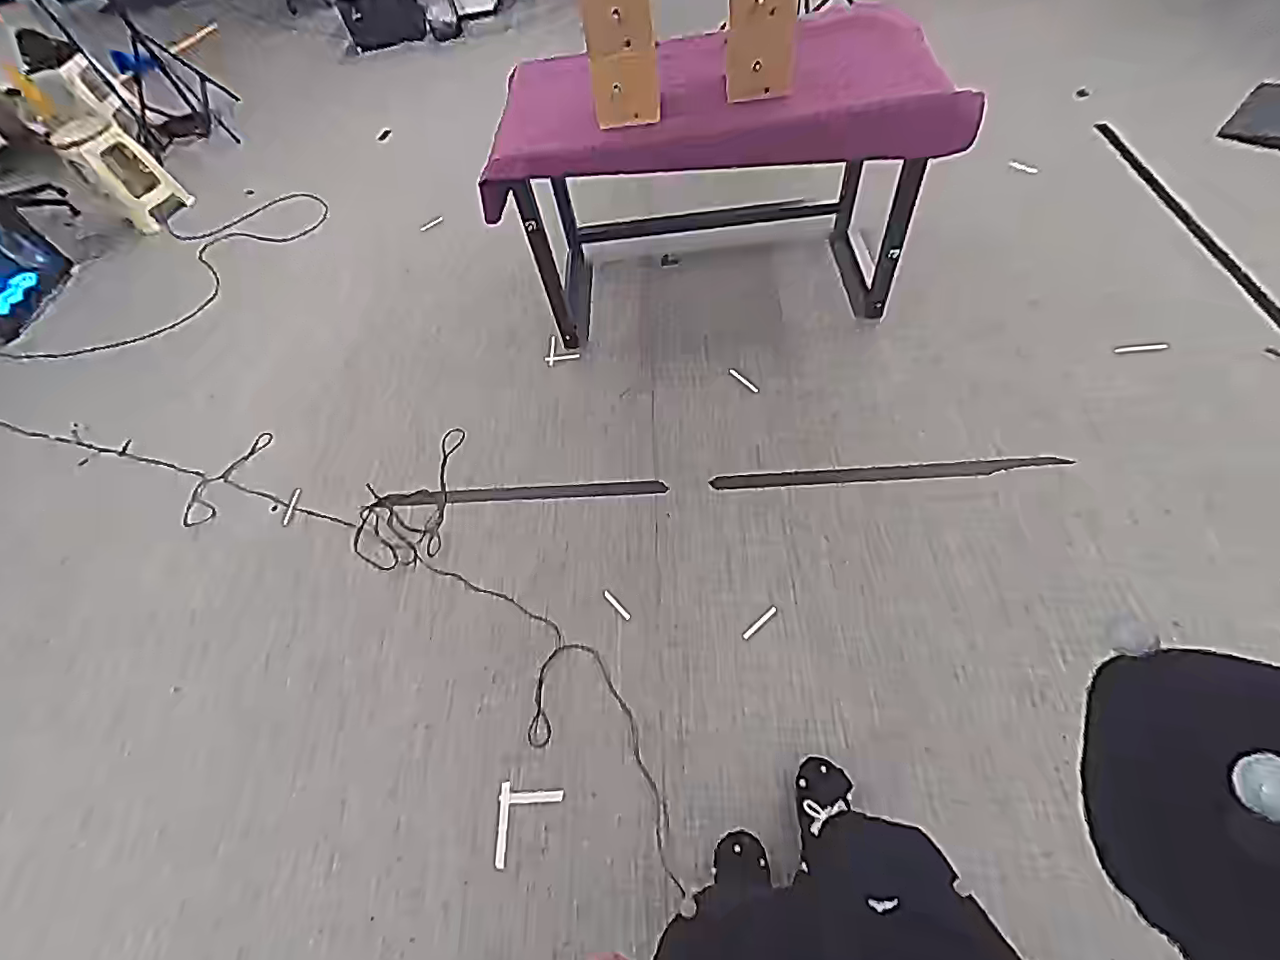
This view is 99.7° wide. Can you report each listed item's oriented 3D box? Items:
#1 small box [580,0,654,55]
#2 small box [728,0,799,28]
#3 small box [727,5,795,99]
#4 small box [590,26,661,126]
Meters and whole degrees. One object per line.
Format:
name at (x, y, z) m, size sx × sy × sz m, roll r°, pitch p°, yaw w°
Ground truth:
small box at (-0.055, -1.174, 1.325) m, size 0.168 × 0.176 × 0.179 m, roll -5°, pitch 57°, yaw 5°
small box at (0.299, -1.233, 1.306) m, size 0.168 × 0.176 × 0.179 m, roll -2°, pitch 58°, yaw 8°
small box at (0.317, -1.144, 1.442) m, size 0.168 × 0.176 × 0.179 m, roll -1°, pitch 58°, yaw 8°
small box at (-0.032, -1.081, 1.458) m, size 0.168 × 0.176 × 0.179 m, roll -3°, pitch 57°, yaw 7°
